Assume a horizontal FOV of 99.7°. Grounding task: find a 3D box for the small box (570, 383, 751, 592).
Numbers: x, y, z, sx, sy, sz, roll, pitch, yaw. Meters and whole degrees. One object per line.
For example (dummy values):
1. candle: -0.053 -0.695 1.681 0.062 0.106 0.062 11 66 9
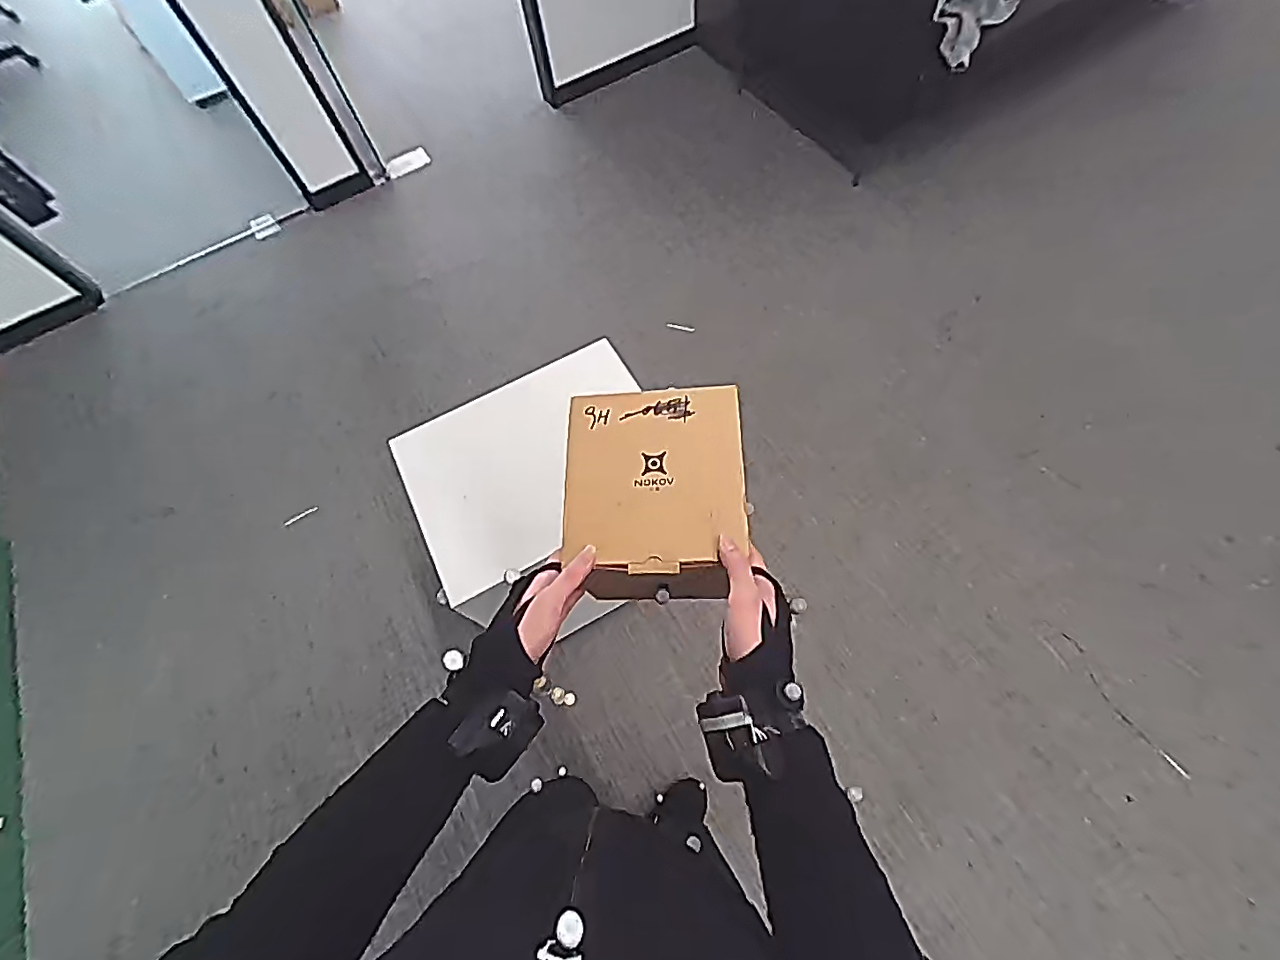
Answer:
1. small box: 0.026 0.020 0.579 0.168 0.176 0.179 -5 67 6
